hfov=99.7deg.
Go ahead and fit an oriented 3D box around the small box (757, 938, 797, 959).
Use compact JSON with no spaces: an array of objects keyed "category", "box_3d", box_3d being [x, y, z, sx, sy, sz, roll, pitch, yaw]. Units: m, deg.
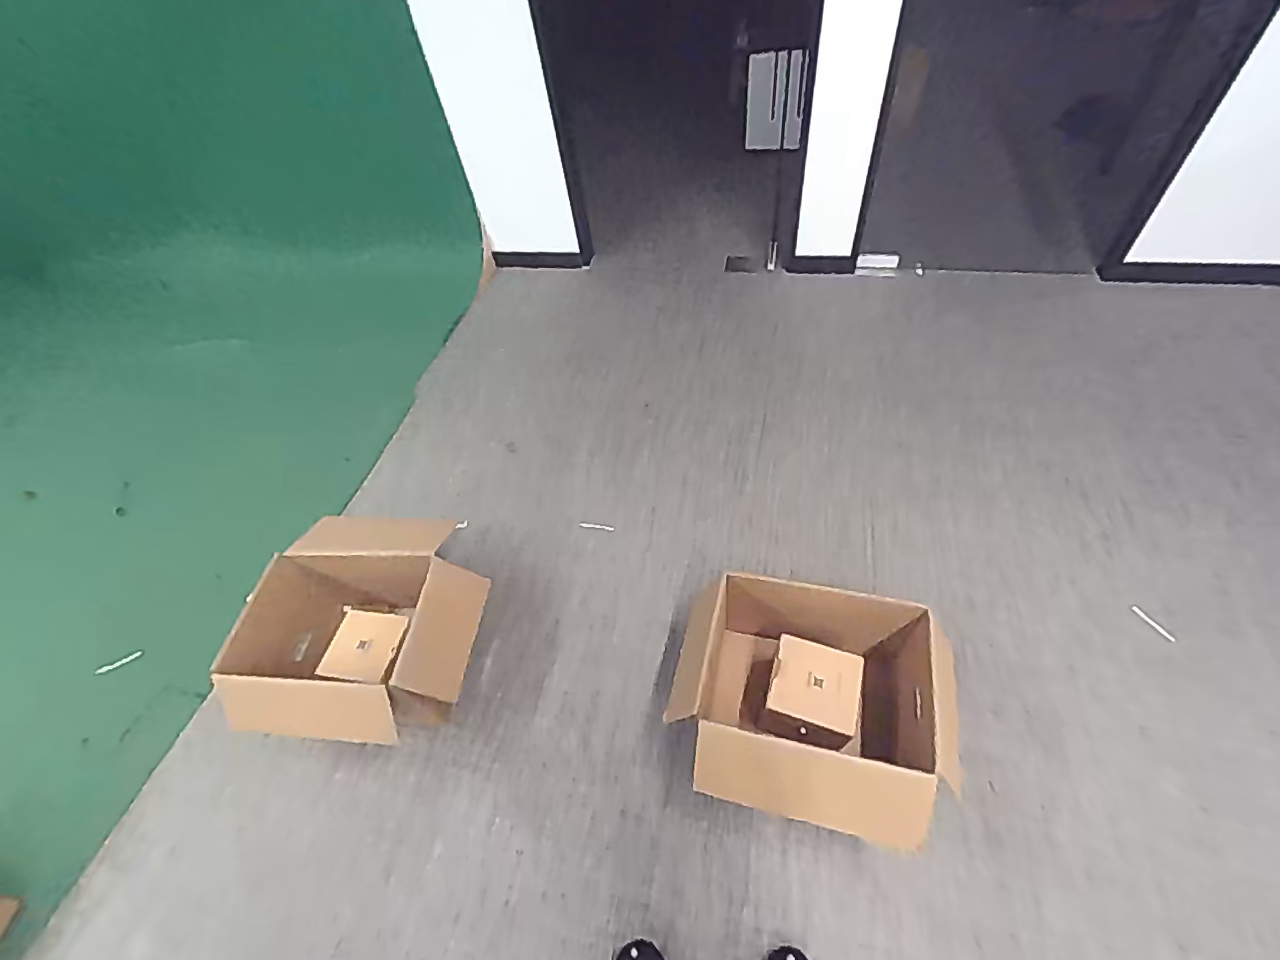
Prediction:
[{"category":"small box","box_3d":[0.207,0.891,0.839,0.176,0.168,0.179,-48,66,7]}]
